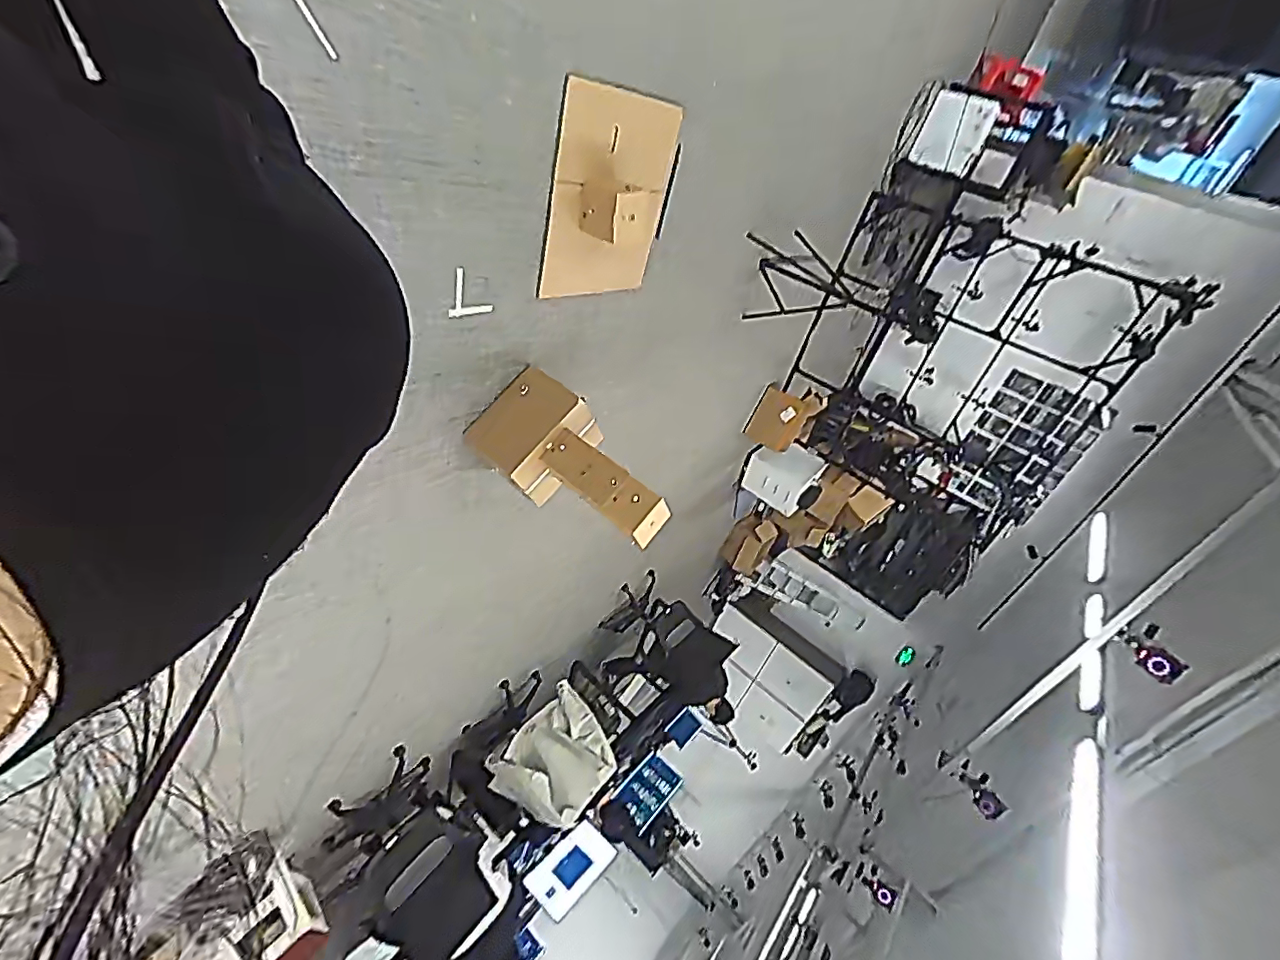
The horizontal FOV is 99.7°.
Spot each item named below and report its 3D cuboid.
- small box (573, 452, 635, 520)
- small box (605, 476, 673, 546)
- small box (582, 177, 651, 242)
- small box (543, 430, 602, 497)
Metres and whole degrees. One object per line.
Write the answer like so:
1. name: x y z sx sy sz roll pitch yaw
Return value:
1. small box: -0.122 0.020 2.038 0.168 0.176 0.179 -50 155 -11
2. small box: -0.005 0.108 1.966 0.168 0.176 0.179 -50 155 -10
3. small box: -0.087 -0.979 1.945 0.179 0.176 0.168 -33 145 -38
4. small box: -0.244 -0.068 2.104 0.168 0.176 0.179 -50 154 -10
